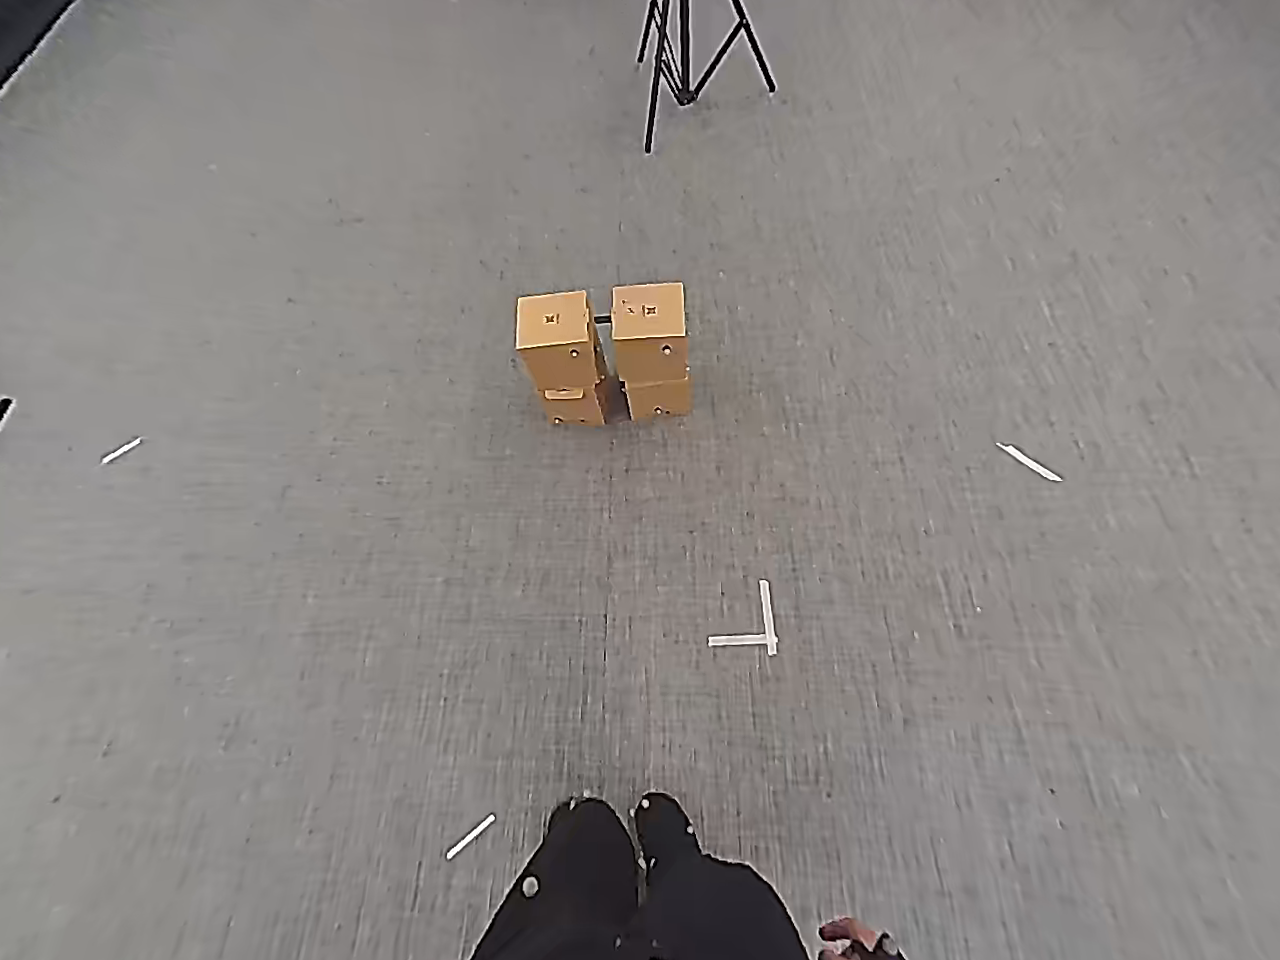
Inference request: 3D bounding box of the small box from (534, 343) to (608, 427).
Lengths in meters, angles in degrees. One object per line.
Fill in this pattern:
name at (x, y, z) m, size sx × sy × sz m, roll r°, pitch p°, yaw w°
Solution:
small box at (-0.185, -0.261, 1.517) m, size 0.168 × 0.176 × 0.179 m, roll 0°, pitch 64°, yaw 6°
